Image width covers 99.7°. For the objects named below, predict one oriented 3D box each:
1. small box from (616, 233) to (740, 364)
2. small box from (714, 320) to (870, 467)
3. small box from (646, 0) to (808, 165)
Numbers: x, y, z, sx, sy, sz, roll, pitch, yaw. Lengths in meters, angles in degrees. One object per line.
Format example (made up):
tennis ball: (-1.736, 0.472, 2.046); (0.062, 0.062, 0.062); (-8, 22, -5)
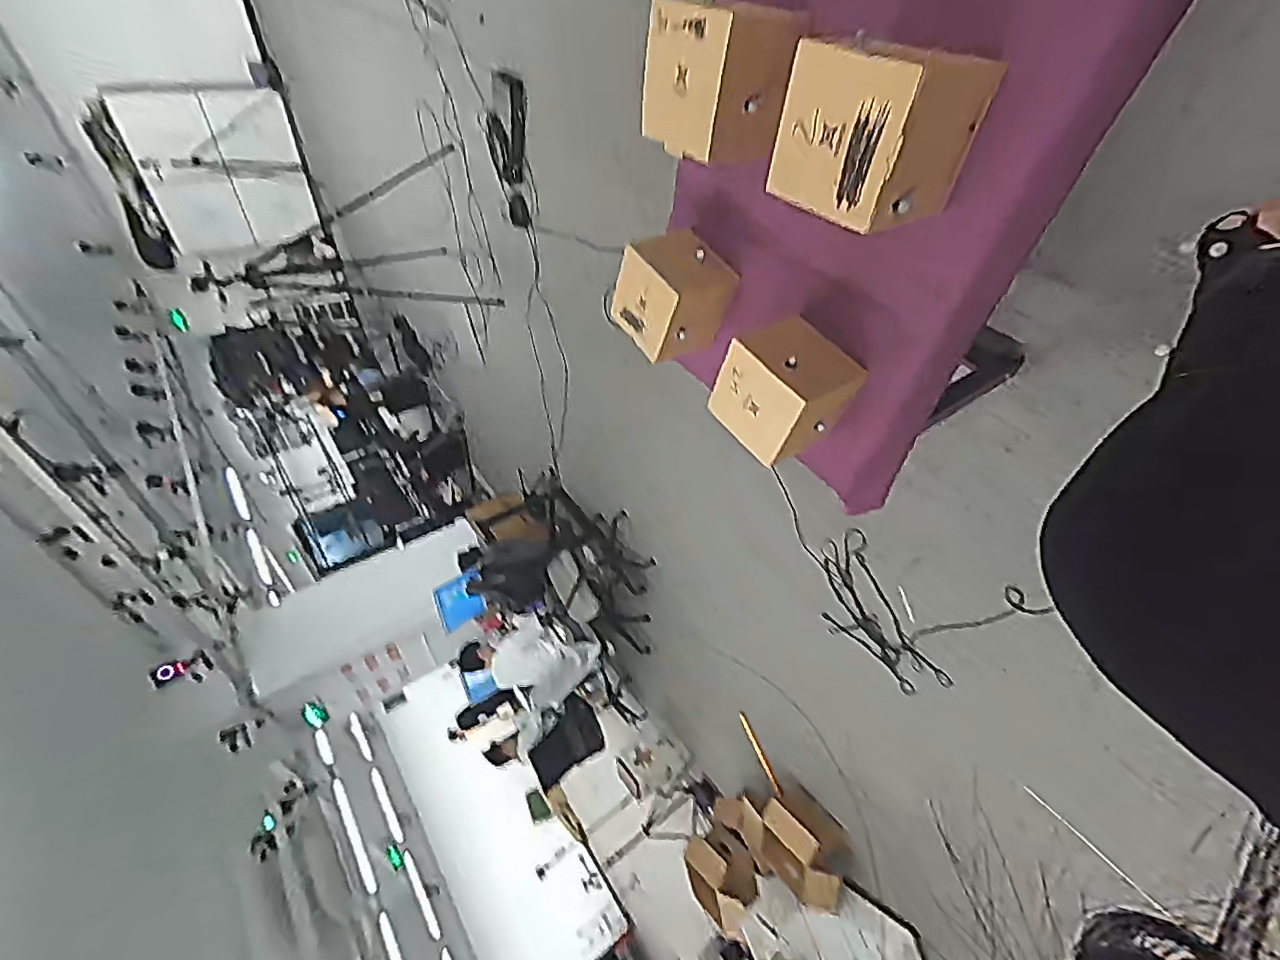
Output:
small box: (0.077, -0.373, 1.106); (0.168, 0.176, 0.179); (51, 148, 20)
small box: (0.268, -0.161, 0.962); (0.179, 0.176, 0.168); (50, 148, 25)
small box: (0.128, -0.612, 0.827); (0.168, 0.176, 0.179); (43, 146, 30)
